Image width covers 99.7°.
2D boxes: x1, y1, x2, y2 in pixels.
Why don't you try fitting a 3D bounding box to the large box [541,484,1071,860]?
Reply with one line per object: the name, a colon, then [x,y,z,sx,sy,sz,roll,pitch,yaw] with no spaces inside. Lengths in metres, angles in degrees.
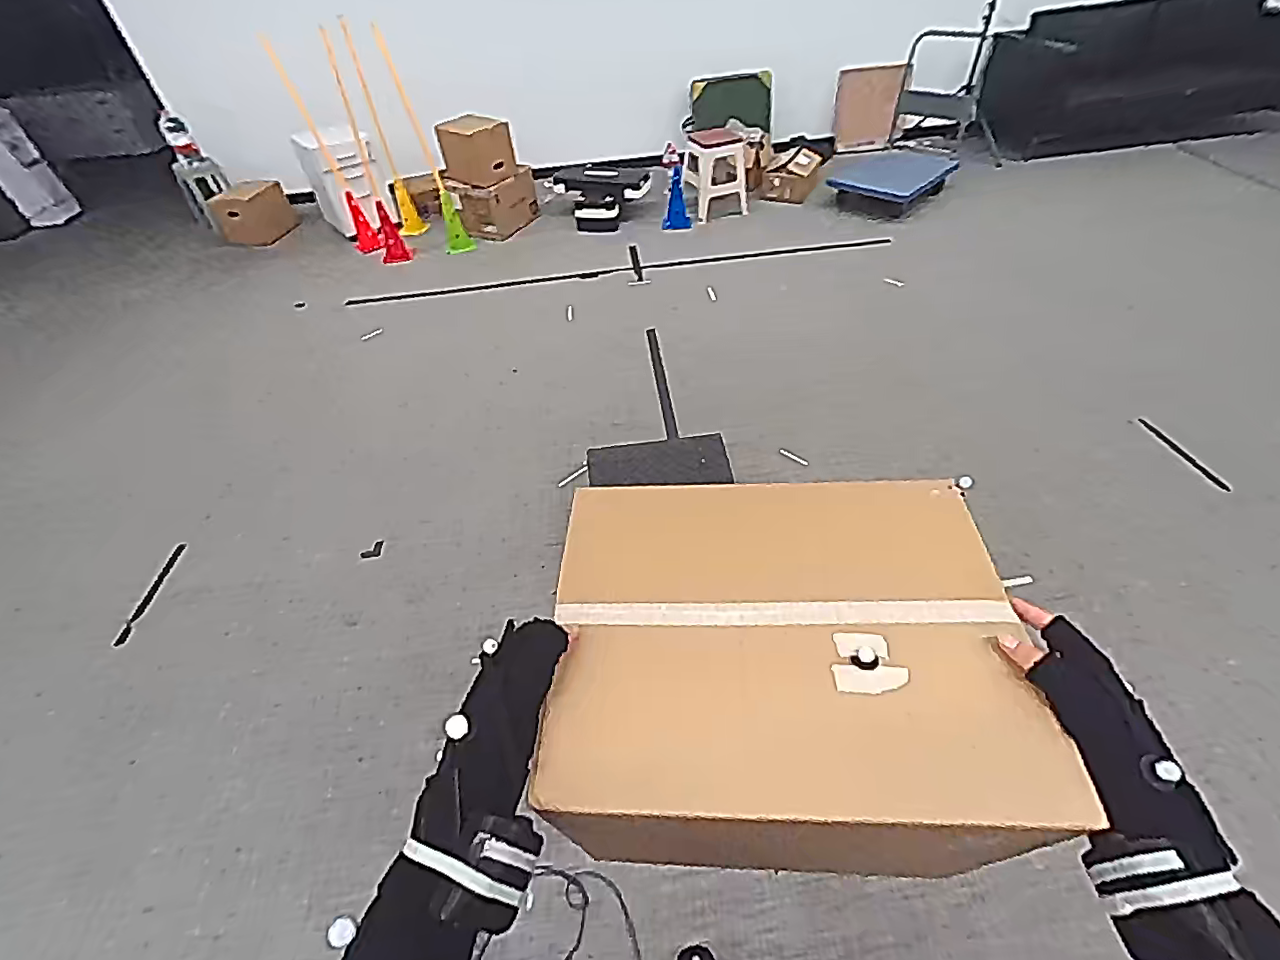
large box: [0.132,0.224,0.614,0.408,0.320,0.320,-2,49,5]
